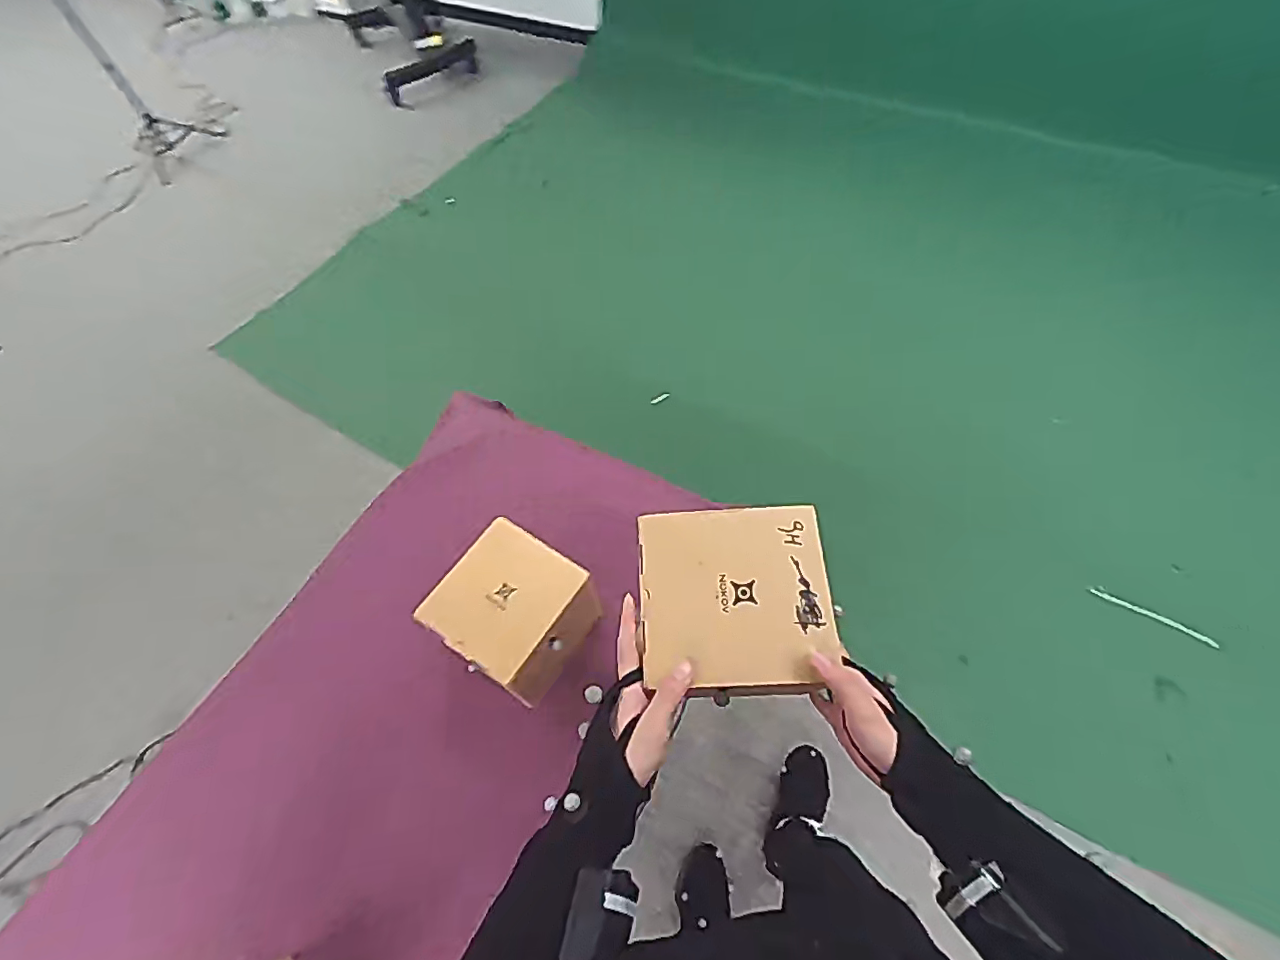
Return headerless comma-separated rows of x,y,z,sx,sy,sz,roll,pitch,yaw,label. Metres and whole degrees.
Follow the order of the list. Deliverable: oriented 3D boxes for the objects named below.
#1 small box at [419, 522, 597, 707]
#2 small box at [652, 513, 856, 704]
-0.174,0.198,0.781,0.168,0.176,0.179,29,65,18,small box
0.106,0.143,0.570,0.179,0.176,0.168,-2,65,4,small box
